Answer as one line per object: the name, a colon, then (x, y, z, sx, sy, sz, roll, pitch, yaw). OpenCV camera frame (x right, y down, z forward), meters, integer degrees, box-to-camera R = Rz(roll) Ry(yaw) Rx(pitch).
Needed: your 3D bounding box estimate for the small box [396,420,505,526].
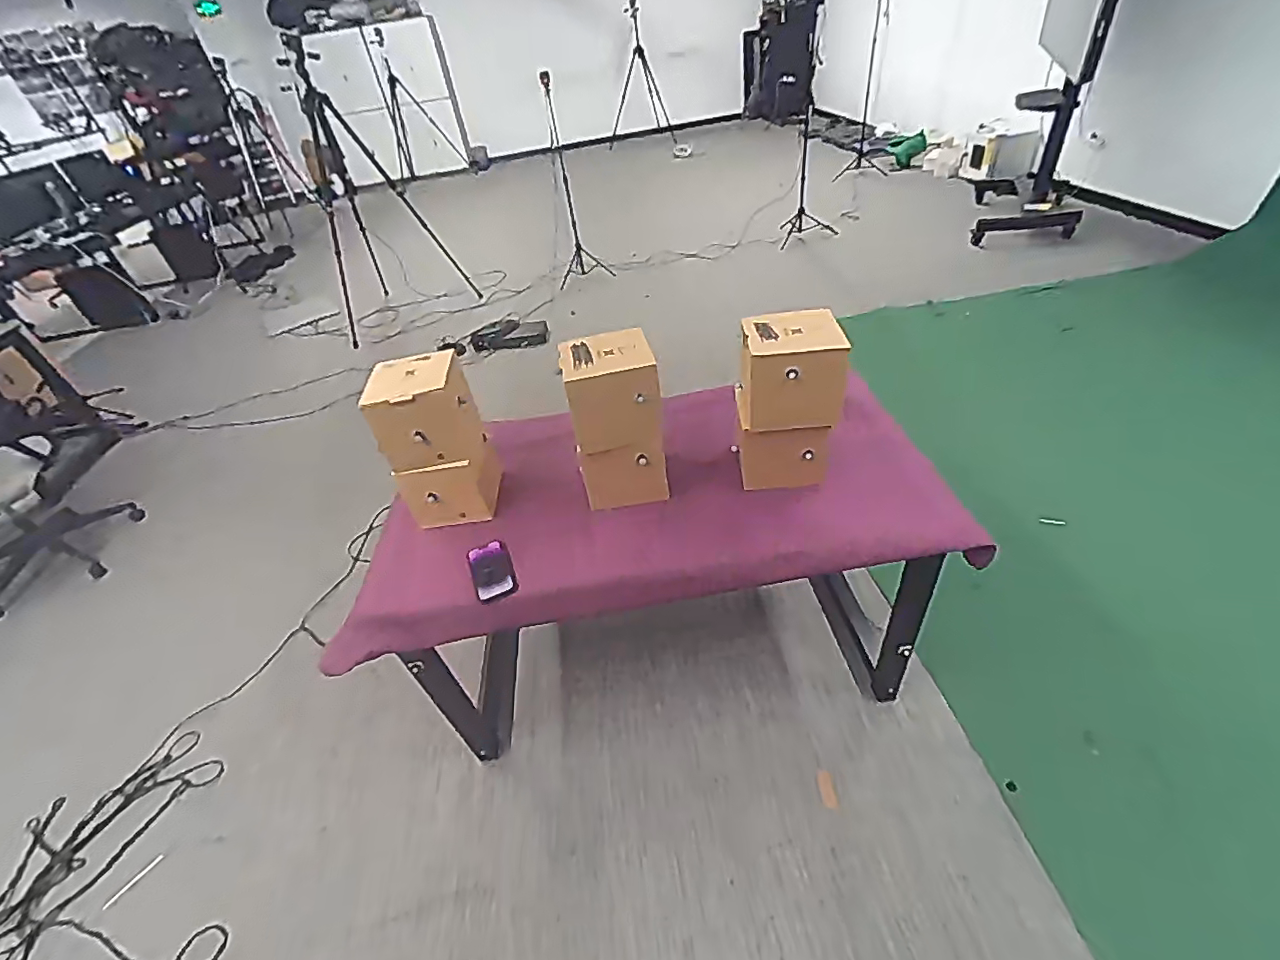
small box: (-0.416, -0.010, 1.221, 0.168, 0.176, 0.179, -8, 40, 3)

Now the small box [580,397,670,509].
small box: (-0.029, -0.057, 1.190, 0.179, 0.176, 0.168, -9, 40, 2)

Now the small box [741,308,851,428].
small box: (0.295, -0.214, 1.050, 0.179, 0.176, 0.168, -5, 40, 6)

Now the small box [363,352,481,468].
small box: (-0.440, -0.139, 1.122, 0.168, 0.176, 0.179, -11, 41, -2)

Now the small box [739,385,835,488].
small box: (0.309, -0.099, 1.167, 0.179, 0.176, 0.168, -5, 40, 8)
